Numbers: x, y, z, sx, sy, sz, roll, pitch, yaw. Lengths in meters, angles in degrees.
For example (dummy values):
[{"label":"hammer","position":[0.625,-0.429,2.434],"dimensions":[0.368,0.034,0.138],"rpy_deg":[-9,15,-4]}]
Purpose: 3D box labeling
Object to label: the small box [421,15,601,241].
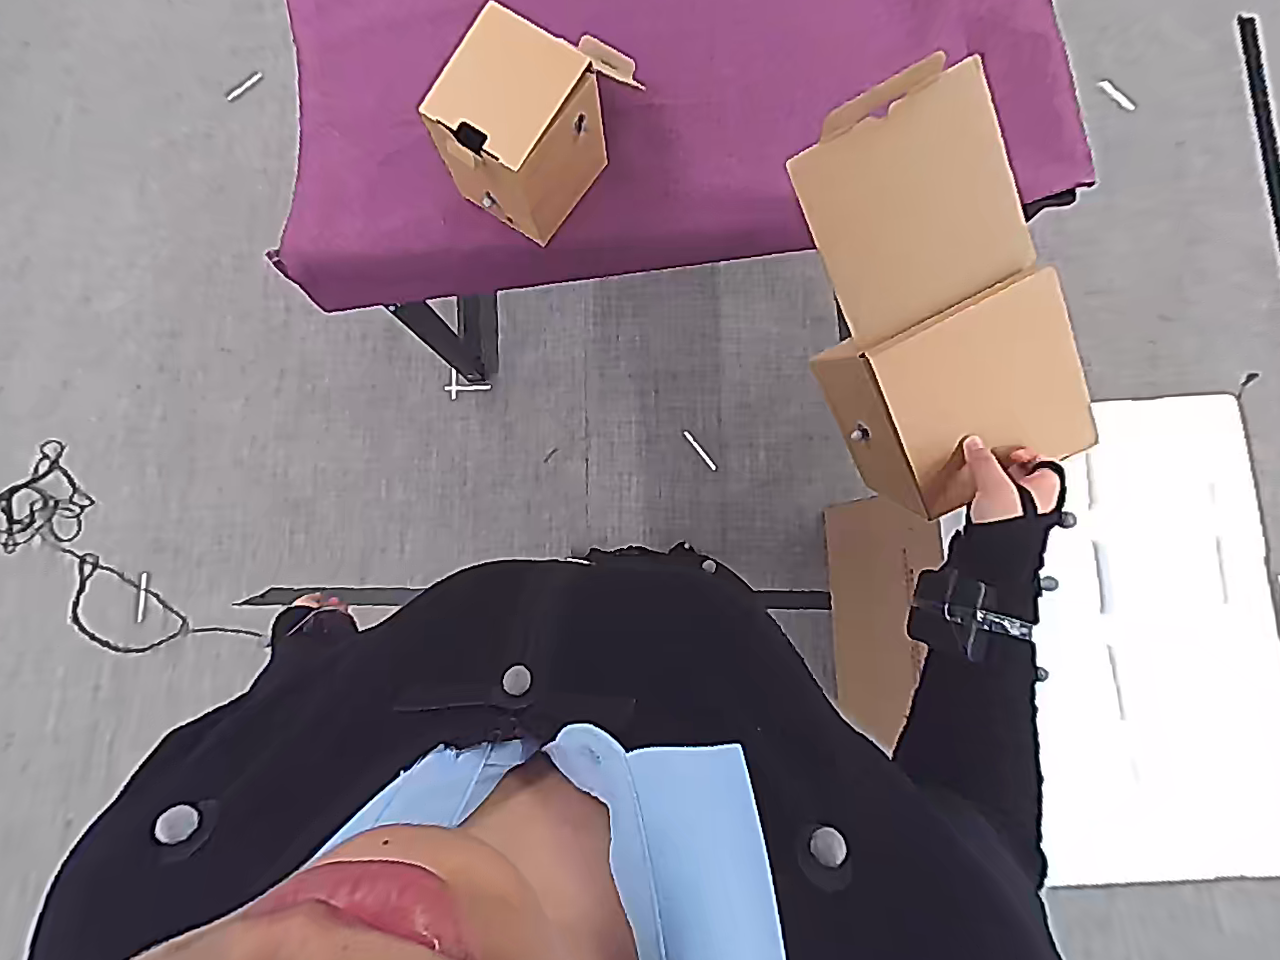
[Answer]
[{"label":"small box","position":[-0.170,-0.494,0.781],"dimensions":[0.168,0.176,0.179],"rpy_deg":[35,84,7]}]
